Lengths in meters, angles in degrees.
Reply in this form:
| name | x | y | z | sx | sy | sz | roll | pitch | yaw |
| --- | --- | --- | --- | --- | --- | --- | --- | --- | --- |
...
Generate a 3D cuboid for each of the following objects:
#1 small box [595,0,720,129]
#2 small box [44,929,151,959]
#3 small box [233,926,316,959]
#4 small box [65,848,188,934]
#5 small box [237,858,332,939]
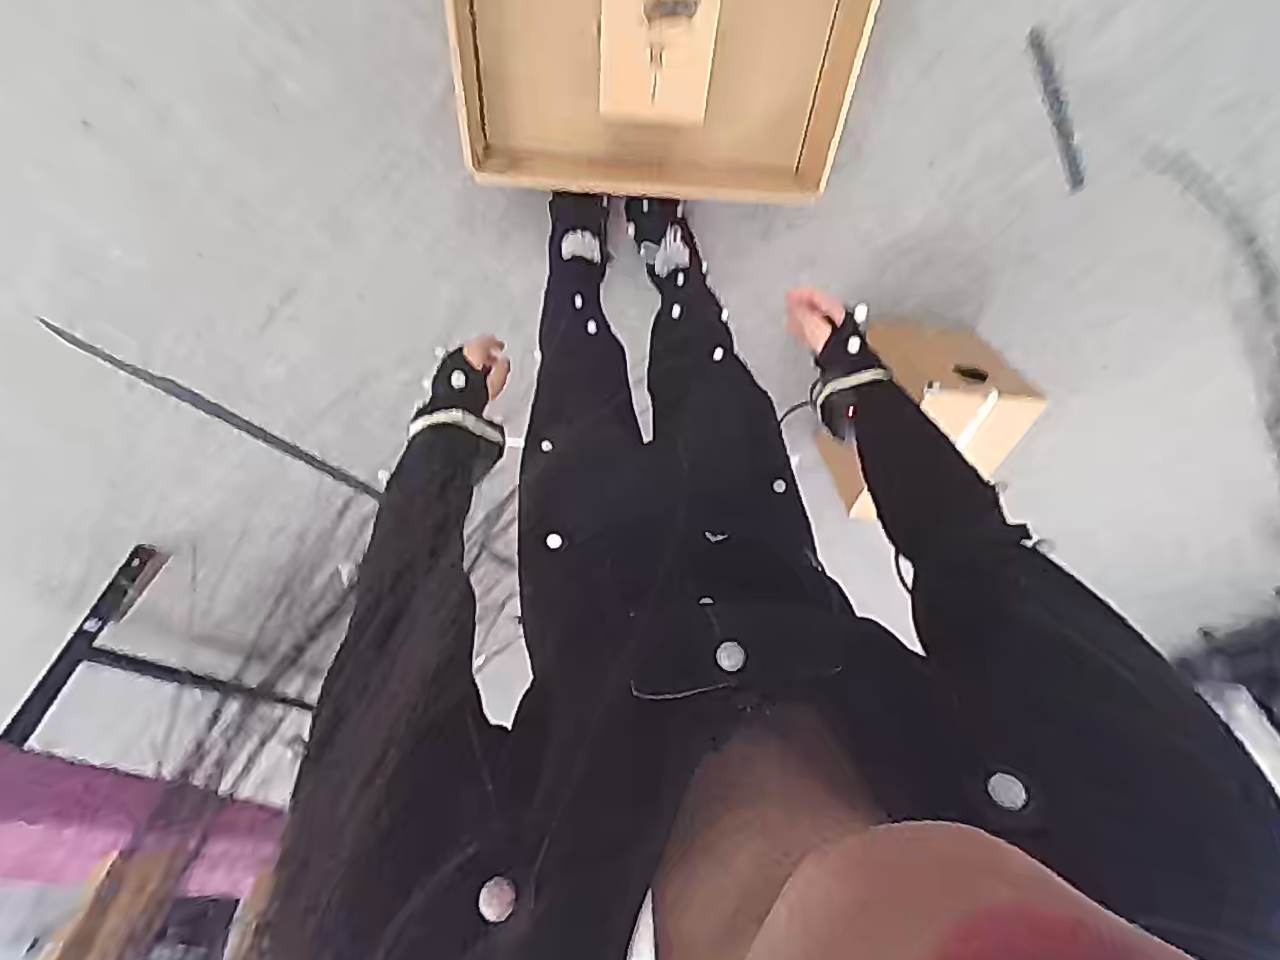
| name | x | y | z | sx | sy | sz | roll | pitch | yaw |
| --- | --- | --- | --- | --- | --- | --- | --- | --- | --- |
| small box | 0.016 | -0.676 | 0.846 | 0.168 | 0.176 | 0.179 | 0 | 134 | -7 |
| small box | -1.344 | 1.202 | 1.307 | 0.179 | 0.176 | 0.168 | -33 | 128 | 24 |
| small box | -1.035 | 1.365 | 1.506 | 0.168 | 0.176 | 0.179 | 32 | 123 | -32 |
| small box | -1.347 | 1.093 | 1.427 | 0.179 | 0.176 | 0.168 | -35 | 128 | 25 |
| small box | -1.063 | 1.263 | 1.633 | 0.179 | 0.176 | 0.168 | -35 | 128 | 25 |
